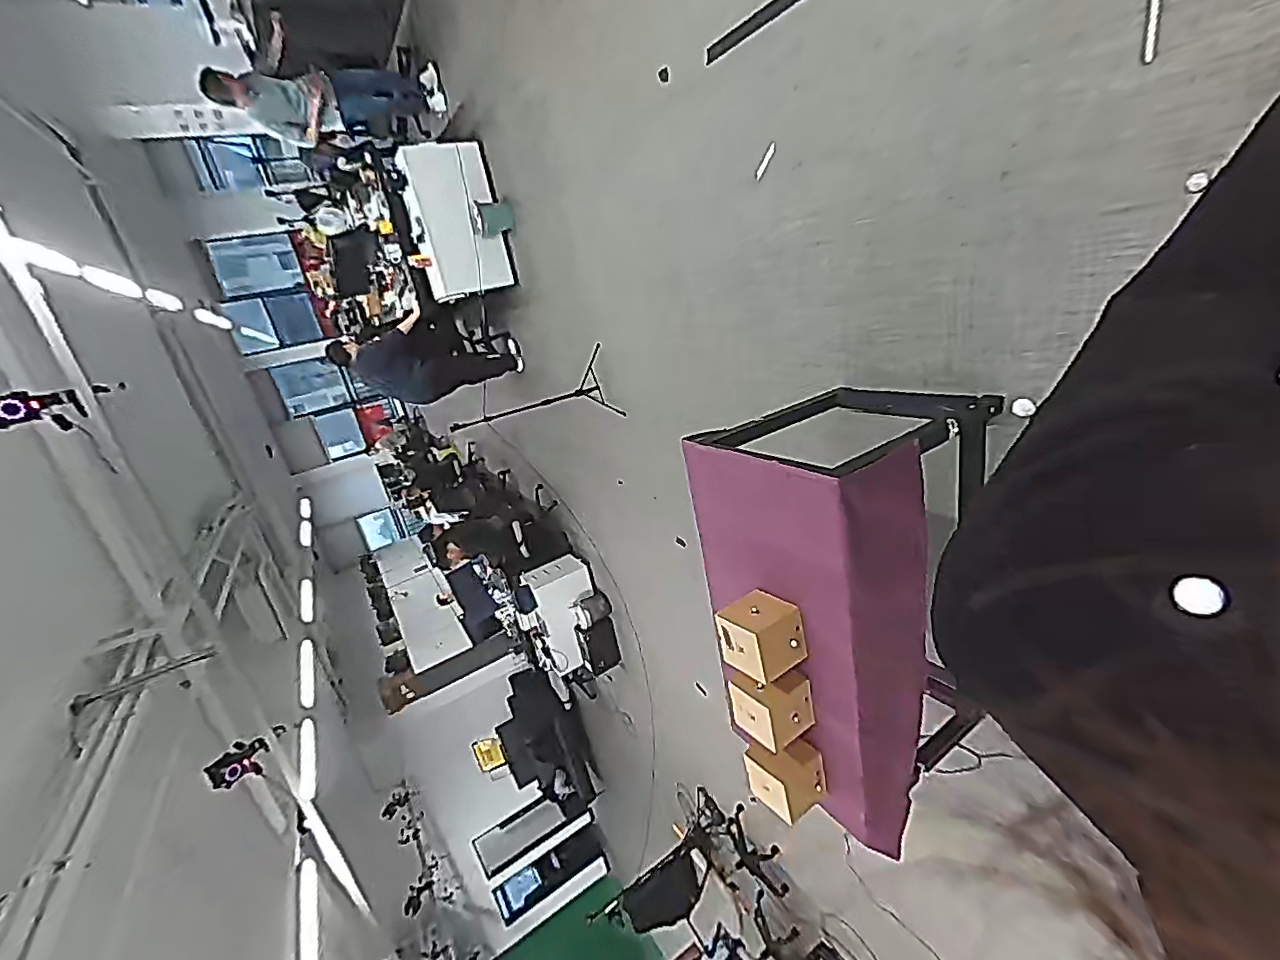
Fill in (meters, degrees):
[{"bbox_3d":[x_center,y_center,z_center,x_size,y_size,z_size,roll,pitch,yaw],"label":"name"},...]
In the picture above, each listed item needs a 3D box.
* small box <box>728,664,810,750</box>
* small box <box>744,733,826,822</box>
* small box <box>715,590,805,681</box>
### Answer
[{"bbox_3d":[0.394,0.661,1.633,0.179,0.176,0.168,19,125,57],"label":"small box"},{"bbox_3d":[0.458,0.917,1.708,0.179,0.176,0.168,15,123,58],"label":"small box"},{"bbox_3d":[0.345,0.436,1.556,0.179,0.176,0.168,12,121,58],"label":"small box"}]
